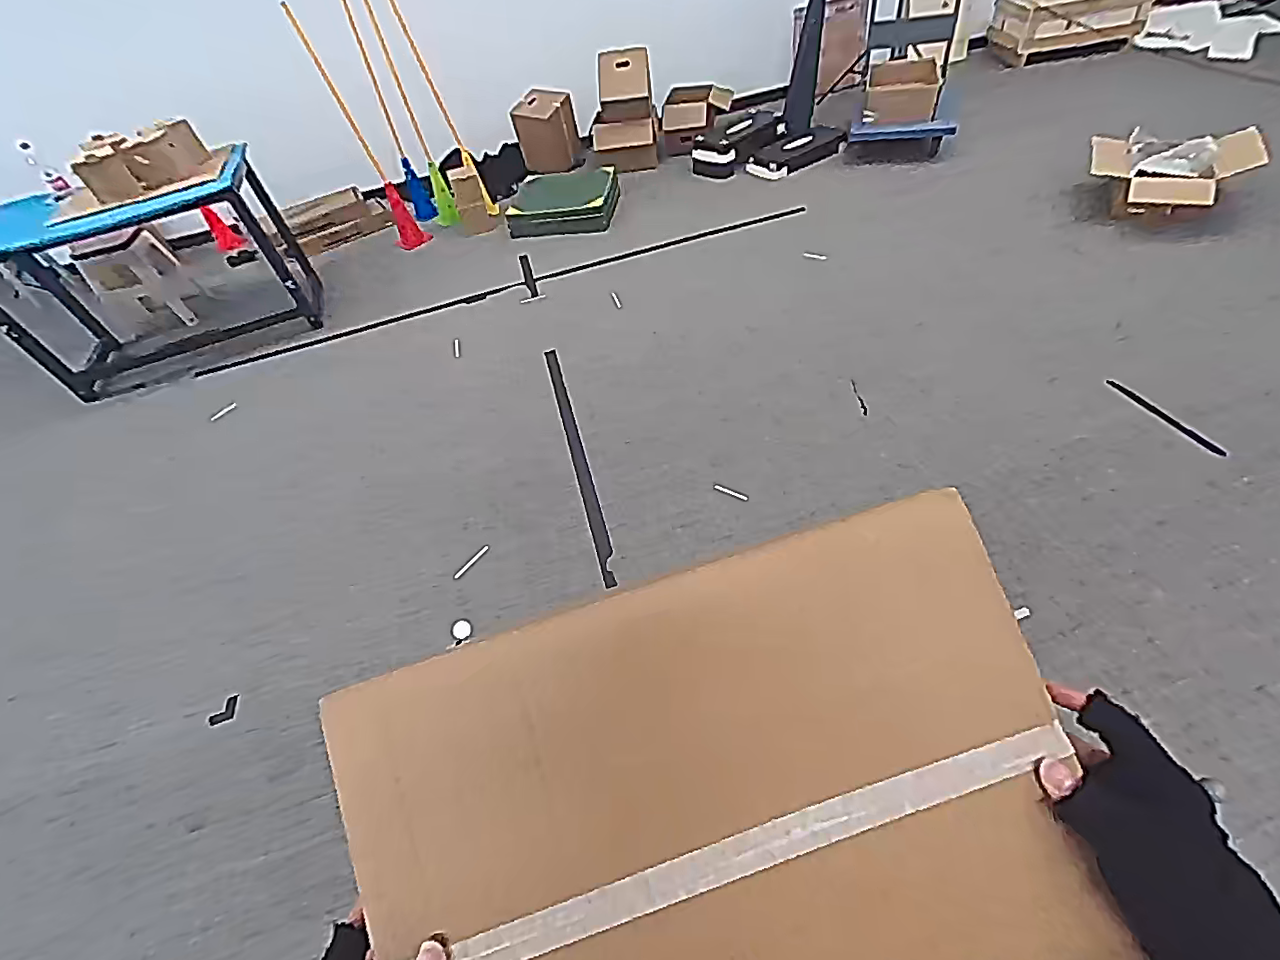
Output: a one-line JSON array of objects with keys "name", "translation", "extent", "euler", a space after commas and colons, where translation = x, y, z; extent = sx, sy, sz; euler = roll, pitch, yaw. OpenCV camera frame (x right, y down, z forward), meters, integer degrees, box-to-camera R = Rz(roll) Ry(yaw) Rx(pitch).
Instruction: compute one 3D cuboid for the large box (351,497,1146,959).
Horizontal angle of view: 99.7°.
[{"name": "large box", "translation": [0.056, 0.241, 0.462], "extent": [0.408, 0.320, 0.320], "euler": [-18, 82, -3]}]
